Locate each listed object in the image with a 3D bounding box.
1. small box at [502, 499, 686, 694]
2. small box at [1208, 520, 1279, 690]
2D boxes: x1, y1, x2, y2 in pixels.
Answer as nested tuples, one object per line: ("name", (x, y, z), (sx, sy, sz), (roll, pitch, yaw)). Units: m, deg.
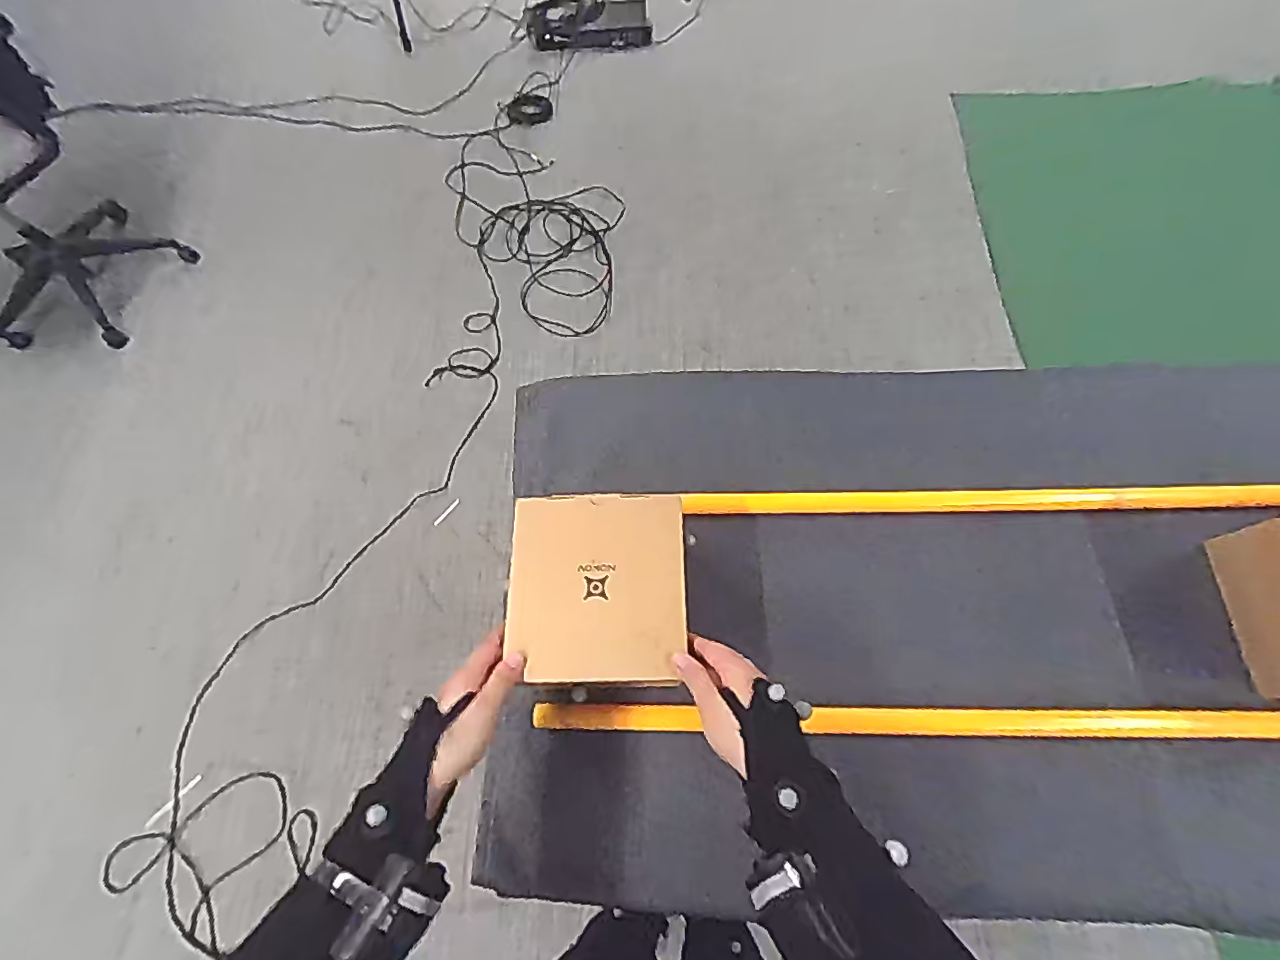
("small box", (-0.038, 0.132, 0.574), (0.168, 0.176, 0.179), (-2, 66, 1))
("small box", (0.739, 0.125, 0.530), (0.168, 0.176, 0.179), (1, 67, 4))
